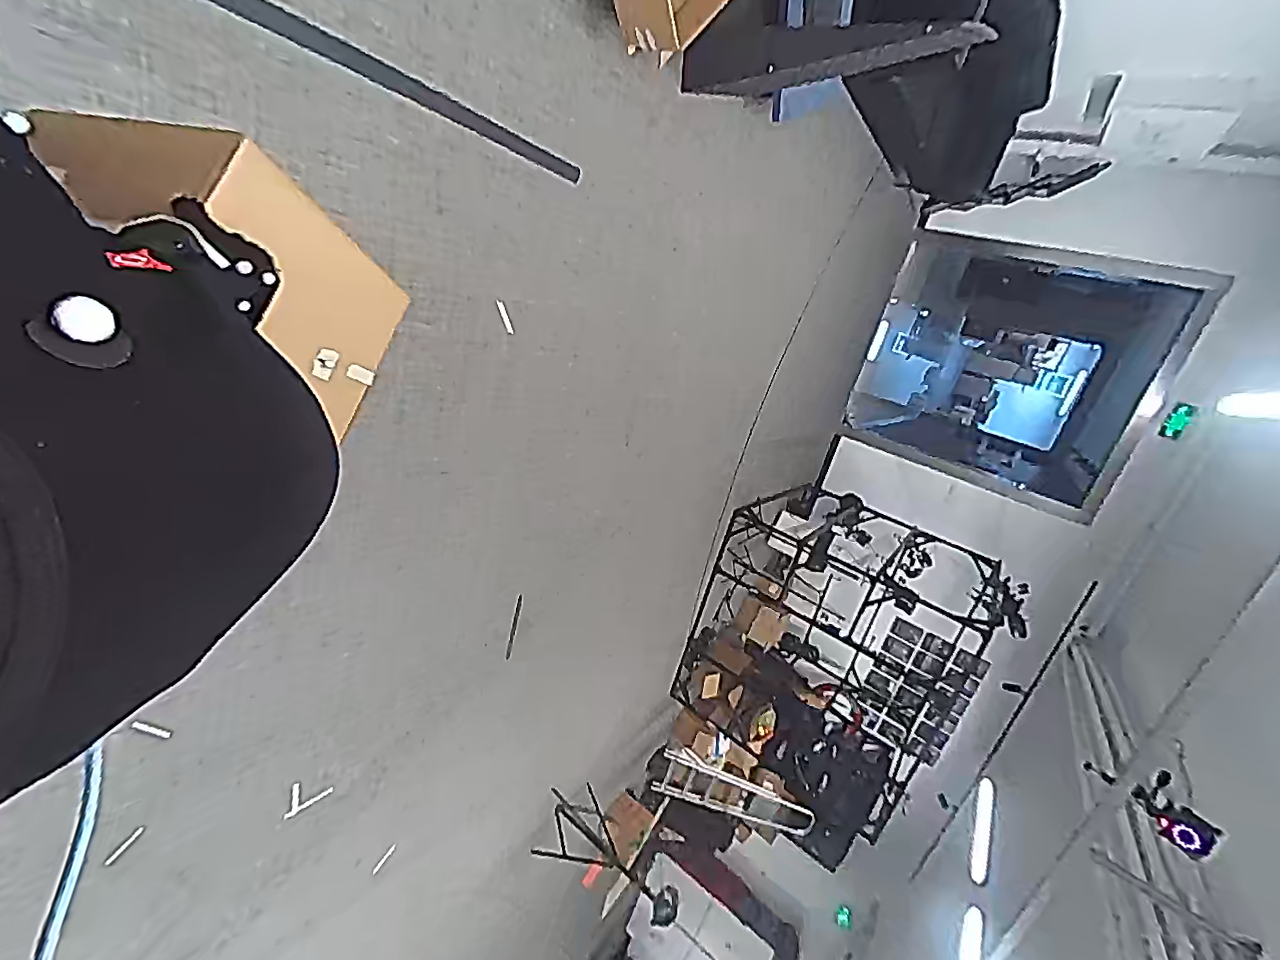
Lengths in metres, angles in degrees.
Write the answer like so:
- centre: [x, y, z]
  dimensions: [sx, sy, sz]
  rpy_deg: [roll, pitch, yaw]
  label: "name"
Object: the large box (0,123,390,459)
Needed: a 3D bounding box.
- centre: [-0.662, -0.251, 0.778]
  dimensions: [0.320, 0.408, 0.320]
  rpy_deg: [52, 54, -70]
  label: "large box"
